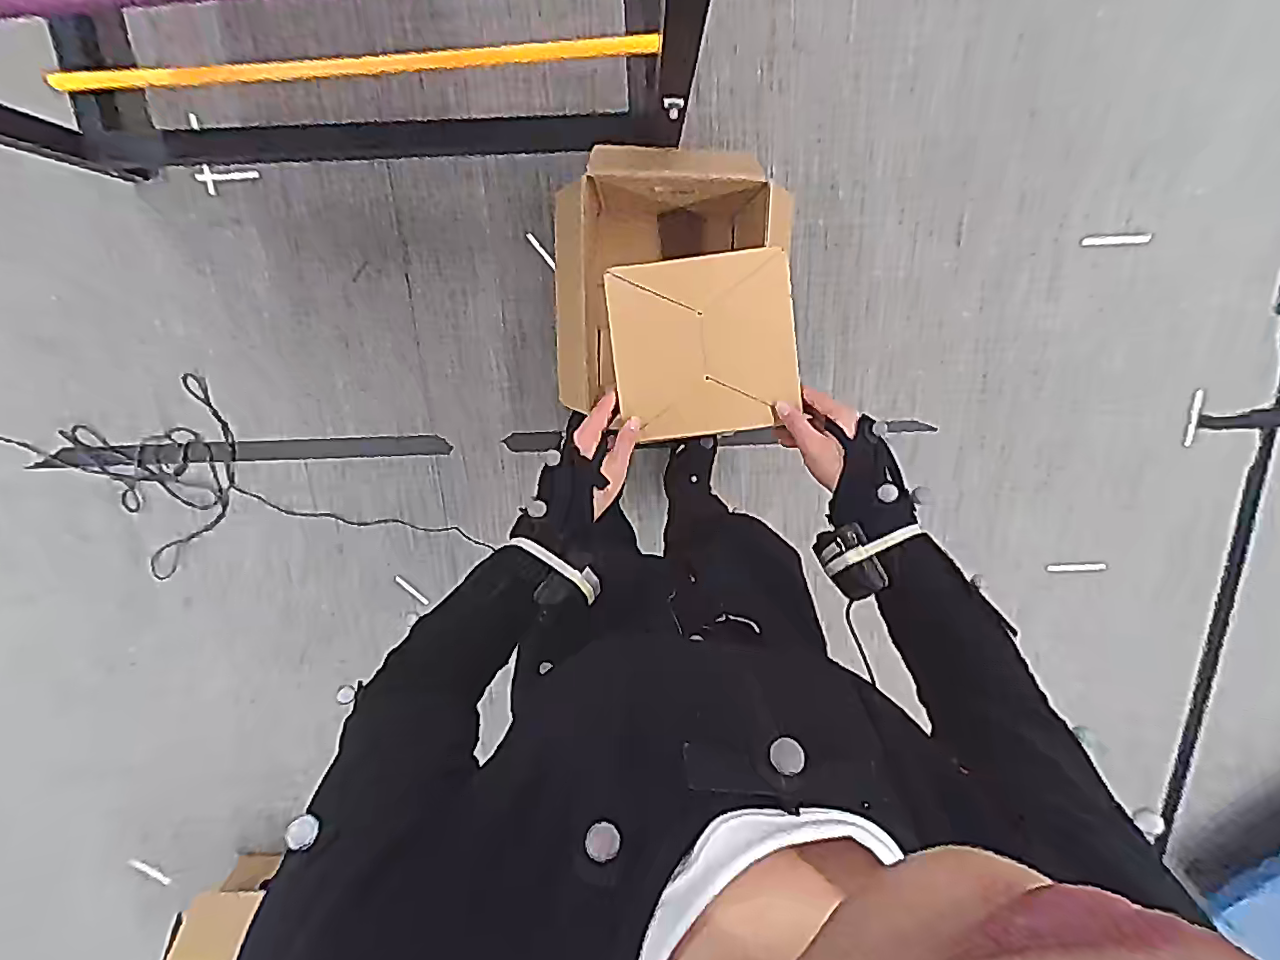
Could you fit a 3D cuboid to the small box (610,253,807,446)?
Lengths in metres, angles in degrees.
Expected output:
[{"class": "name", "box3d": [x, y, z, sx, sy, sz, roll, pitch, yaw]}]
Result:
[{"class": "small box", "box3d": [0.064, -0.131, 0.590, 0.179, 0.176, 0.168, -7, 93, 1]}]
